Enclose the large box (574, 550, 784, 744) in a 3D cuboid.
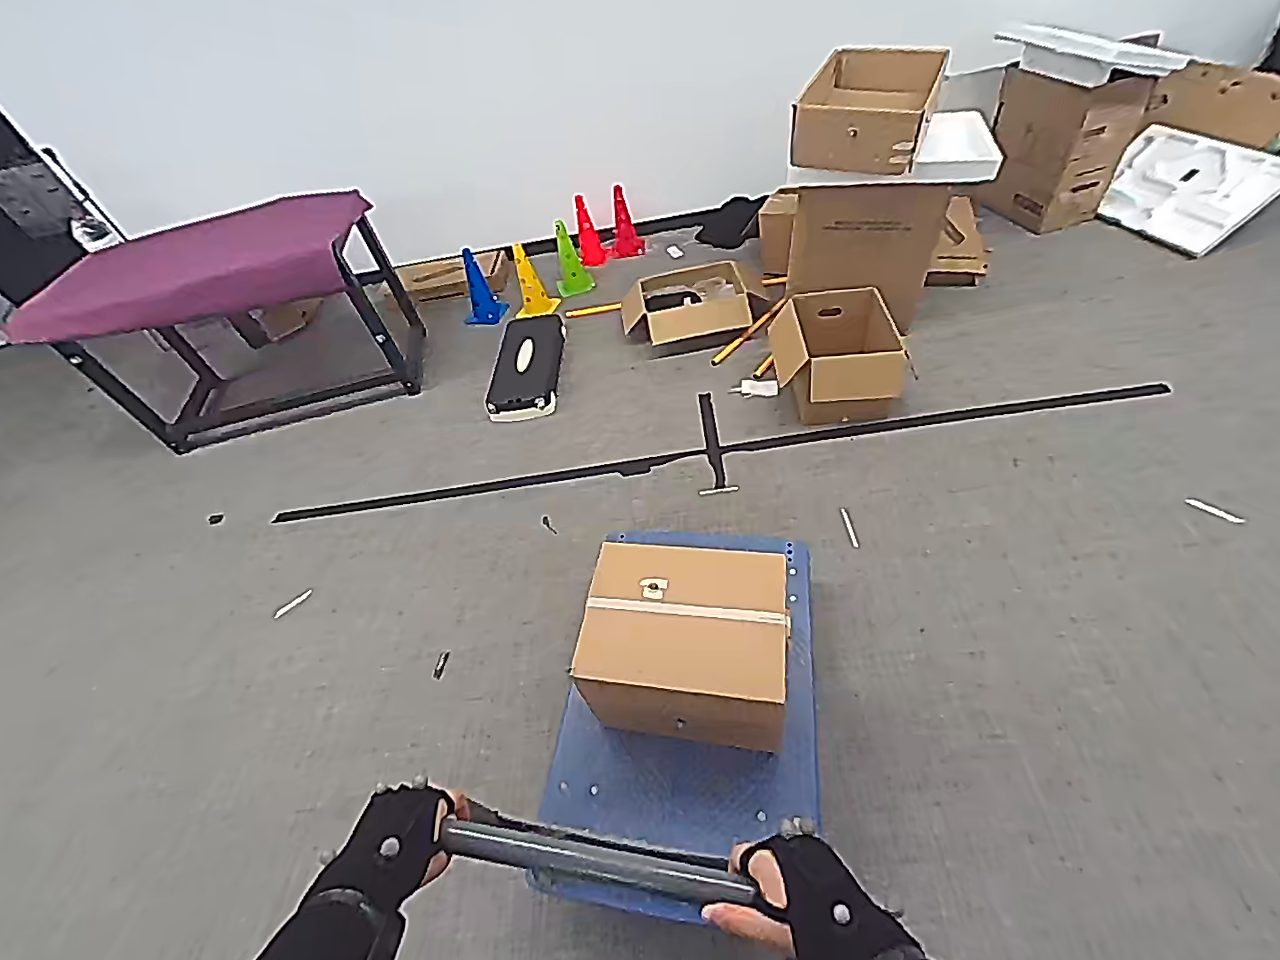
[{"bbox_3d":[0.112,0.374,1.219,0.408,0.320,0.320,1,48,14],"label":"large box"}]
